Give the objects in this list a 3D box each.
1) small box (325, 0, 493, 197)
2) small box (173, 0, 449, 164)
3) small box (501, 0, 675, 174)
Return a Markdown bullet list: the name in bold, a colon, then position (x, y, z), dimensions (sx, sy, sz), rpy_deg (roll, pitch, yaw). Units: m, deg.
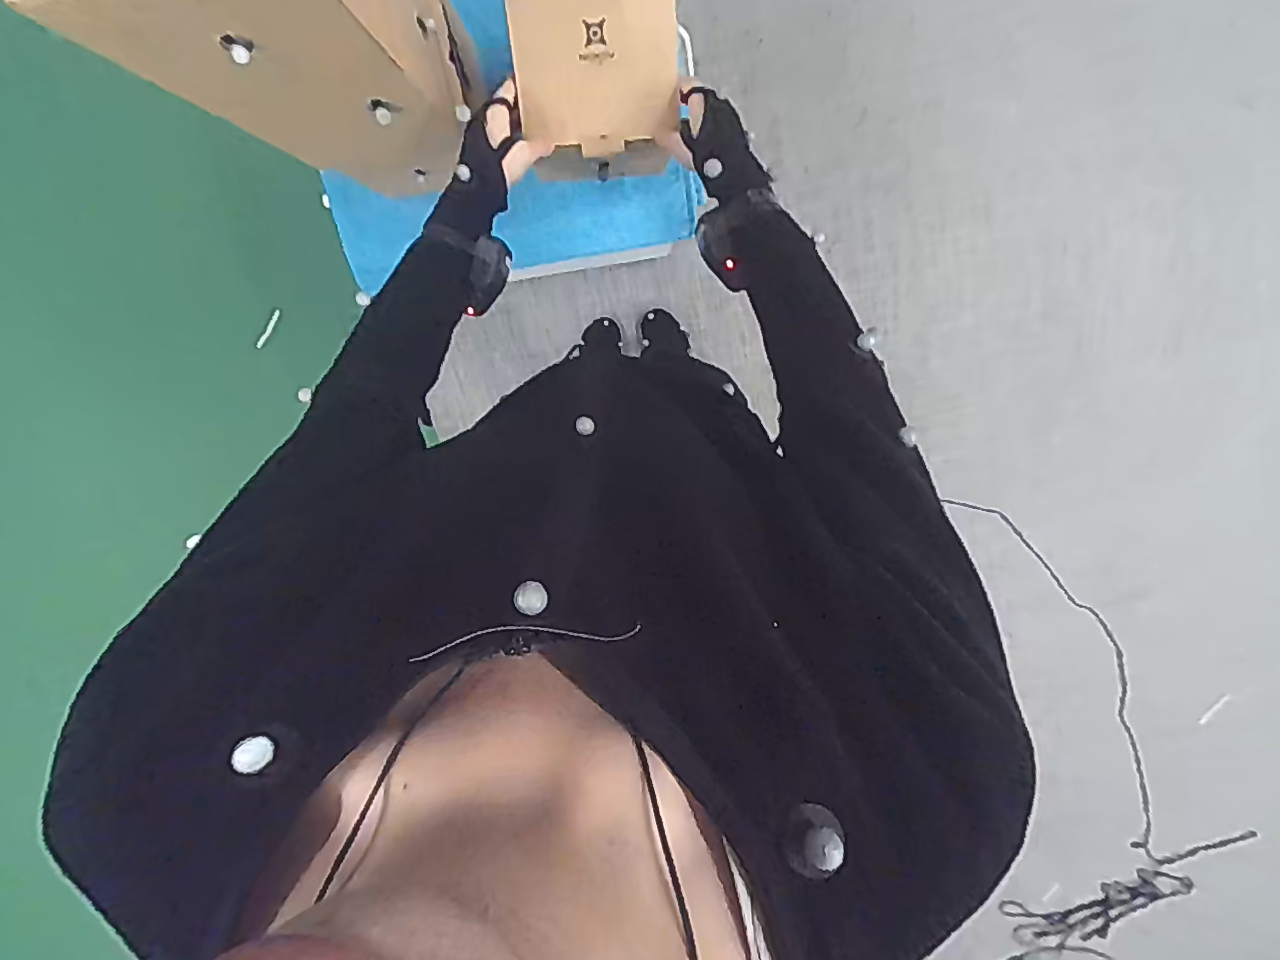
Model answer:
- **small box**: position (-0.295, -0.475, 0.677), dimensions (0.179, 0.176, 0.168), rpy_deg (-11, 105, 2)
- **small box**: position (-0.300, -0.429, 0.519), dimensions (0.179, 0.176, 0.168), rpy_deg (-10, 104, 1)
- **small box**: position (-0.053, -0.452, 0.601), dimensions (0.168, 0.176, 0.179), rpy_deg (-5, 110, -2)
